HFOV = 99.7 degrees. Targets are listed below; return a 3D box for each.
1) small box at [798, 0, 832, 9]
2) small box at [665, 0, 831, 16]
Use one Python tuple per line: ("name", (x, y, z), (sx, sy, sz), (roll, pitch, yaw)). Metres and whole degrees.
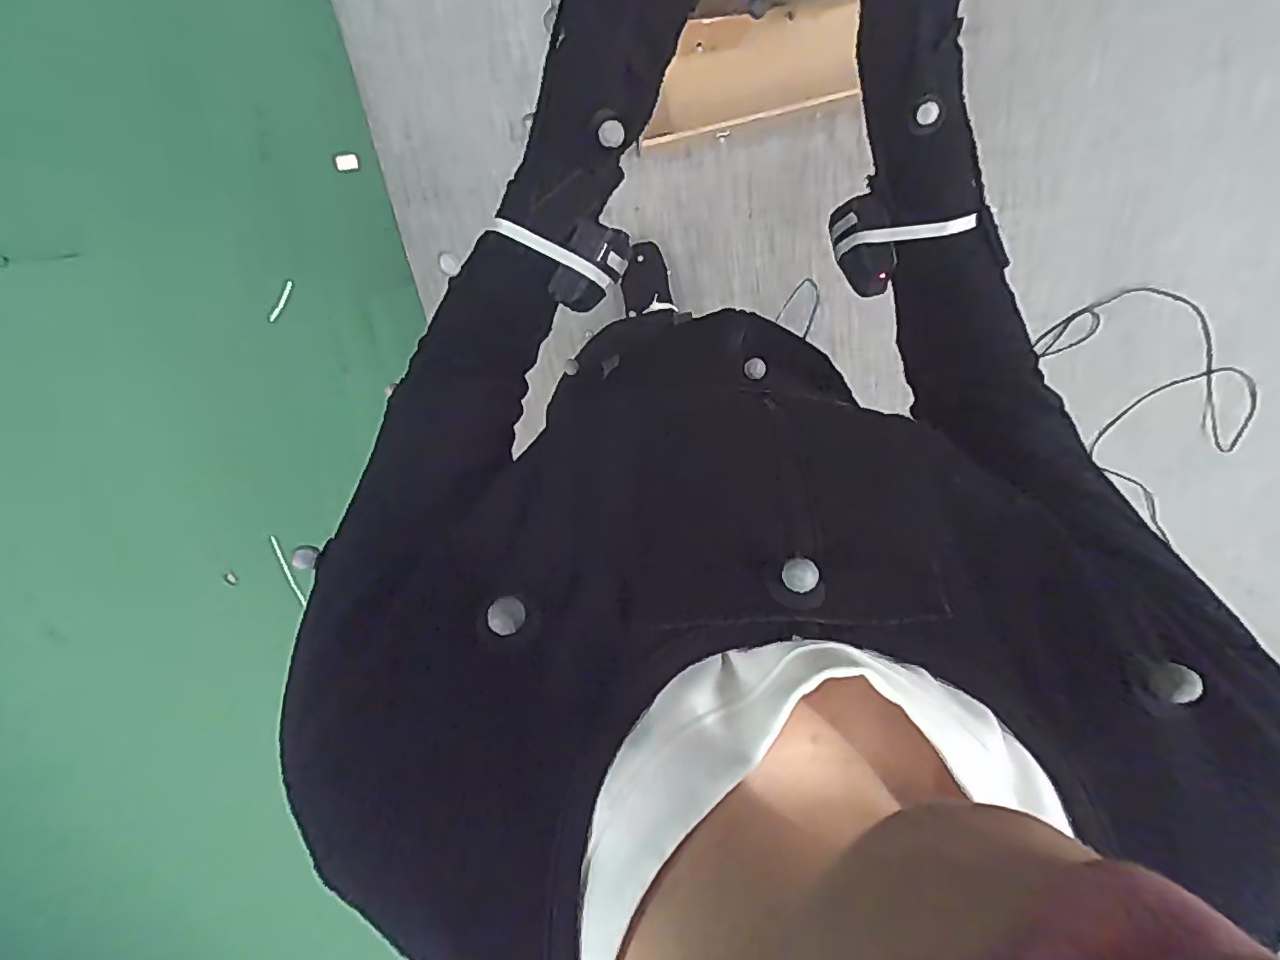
("small box", (0.364, -1.006, 0.985), (0.168, 0.176, 0.179), (-15, 111, 8))
("small box", (0.088, -0.443, 0.349), (0.168, 0.176, 0.179), (-3, 116, 3))
